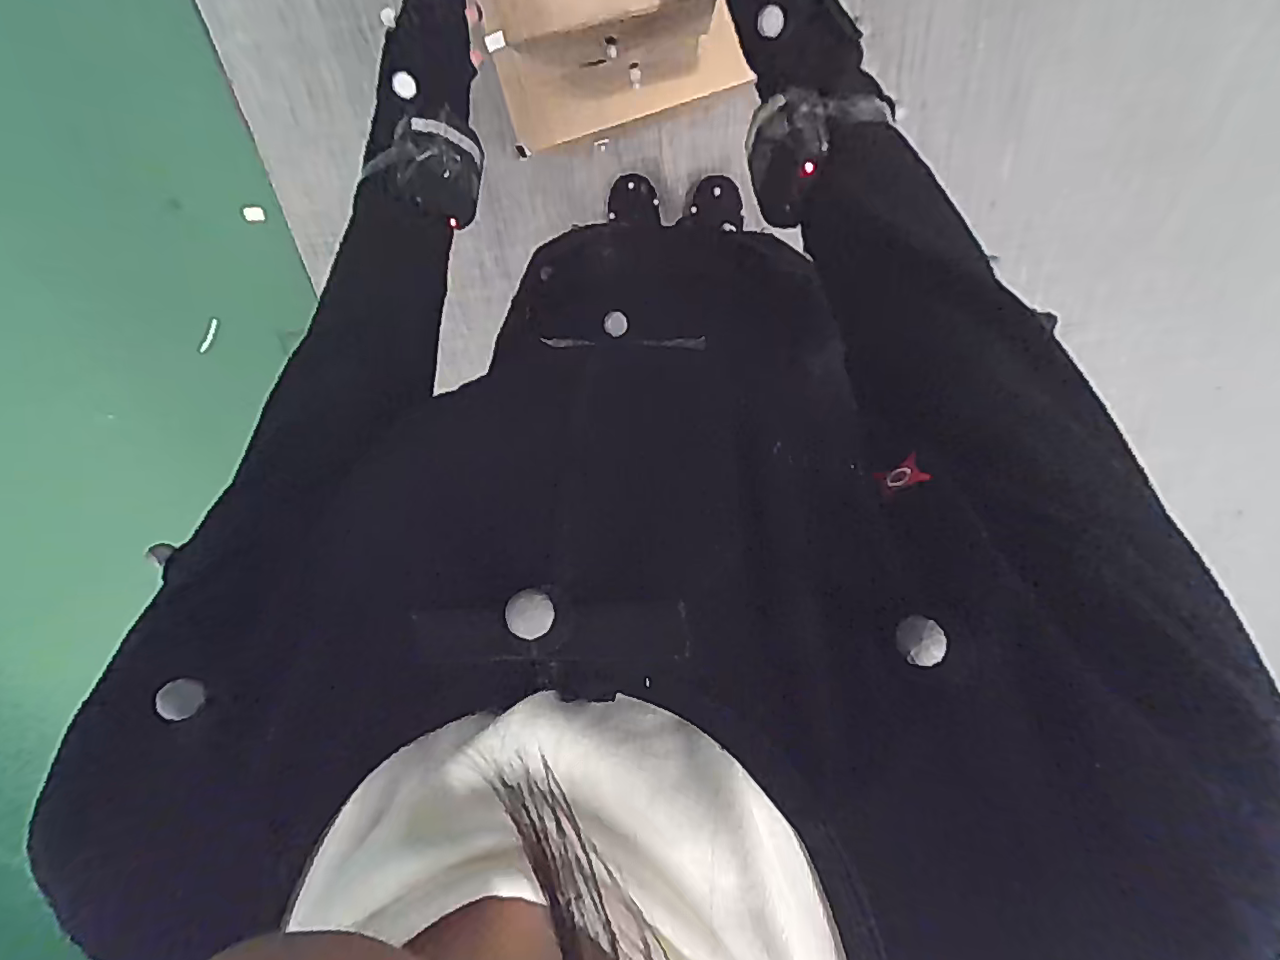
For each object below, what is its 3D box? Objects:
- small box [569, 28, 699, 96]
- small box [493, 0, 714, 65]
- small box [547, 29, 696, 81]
[{"bbox_3d":[-0.018,-0.644,0.736,0.179,0.176,0.168,-9,121,9],"label":"small box"},{"bbox_3d":[-0.034,-0.475,0.455,0.179,0.176,0.168,-6,121,9],"label":"small box"},{"bbox_3d":[-0.030,-0.563,0.595,0.168,0.176,0.179,-9,121,10],"label":"small box"}]
